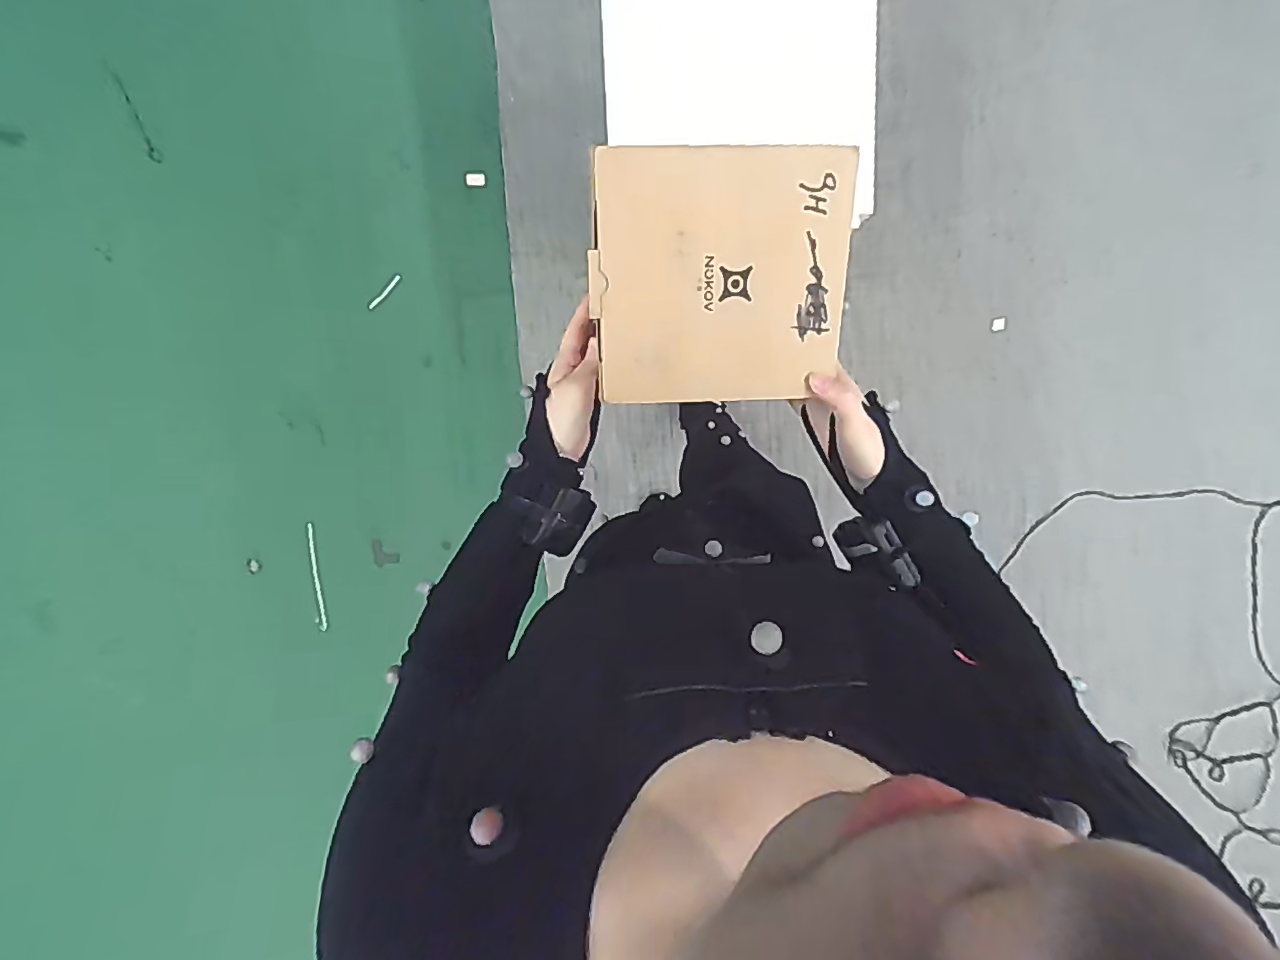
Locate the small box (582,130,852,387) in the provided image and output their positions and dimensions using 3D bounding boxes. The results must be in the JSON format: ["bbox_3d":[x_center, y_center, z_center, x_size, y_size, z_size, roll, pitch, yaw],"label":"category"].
[{"bbox_3d":[0.048,-0.172,0.446,0.179,0.176,0.168,-2,110,-3],"label":"small box"}]
